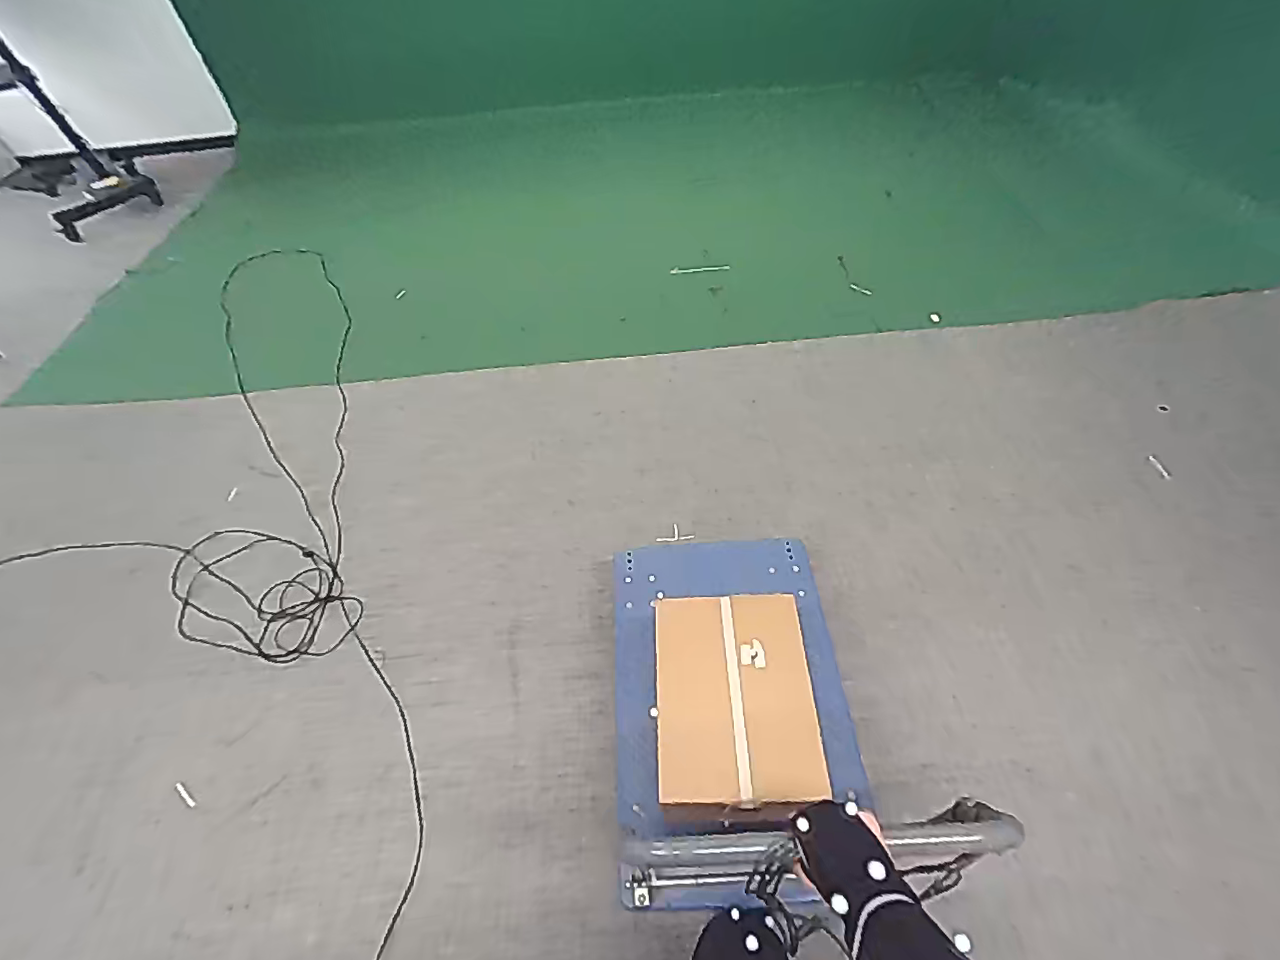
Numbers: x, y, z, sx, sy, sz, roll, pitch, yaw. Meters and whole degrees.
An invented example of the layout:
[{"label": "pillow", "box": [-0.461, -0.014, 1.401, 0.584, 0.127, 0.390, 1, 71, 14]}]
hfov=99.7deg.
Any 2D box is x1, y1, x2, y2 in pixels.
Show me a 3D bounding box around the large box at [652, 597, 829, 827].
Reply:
[{"label": "large box", "box": [0.193, 0.514, 1.198, 0.320, 0.320, 0.408, -2, 51, 2]}]
